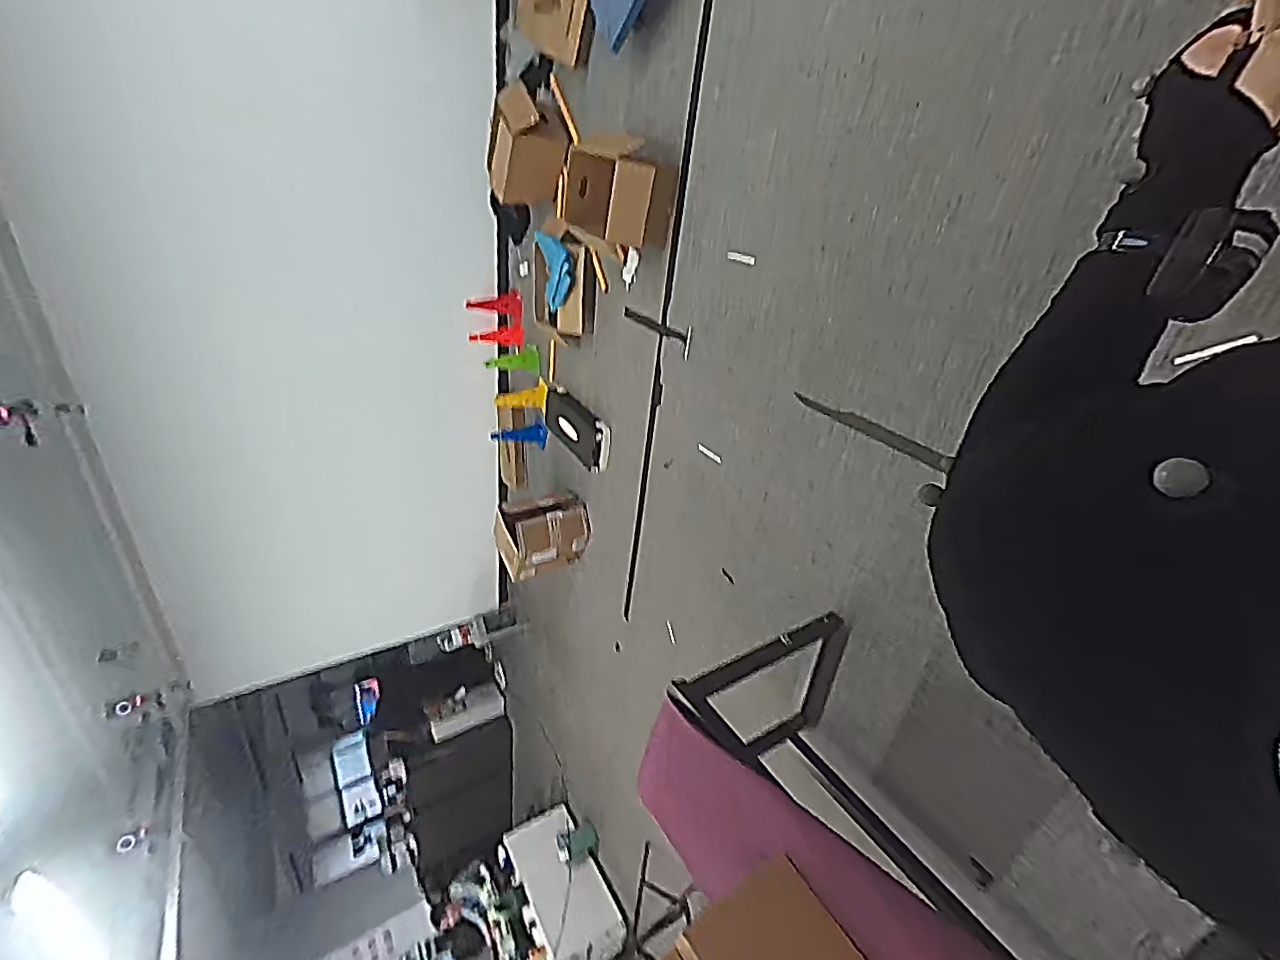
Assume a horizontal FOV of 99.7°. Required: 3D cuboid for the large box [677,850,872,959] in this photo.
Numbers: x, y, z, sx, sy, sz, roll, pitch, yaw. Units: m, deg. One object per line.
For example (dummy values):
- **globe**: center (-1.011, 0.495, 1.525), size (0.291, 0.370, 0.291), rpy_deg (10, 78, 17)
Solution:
- **large box**: center (0.308, 1.114, 1.130), size (0.408, 0.320, 0.320), rpy_deg (40, 134, 43)
